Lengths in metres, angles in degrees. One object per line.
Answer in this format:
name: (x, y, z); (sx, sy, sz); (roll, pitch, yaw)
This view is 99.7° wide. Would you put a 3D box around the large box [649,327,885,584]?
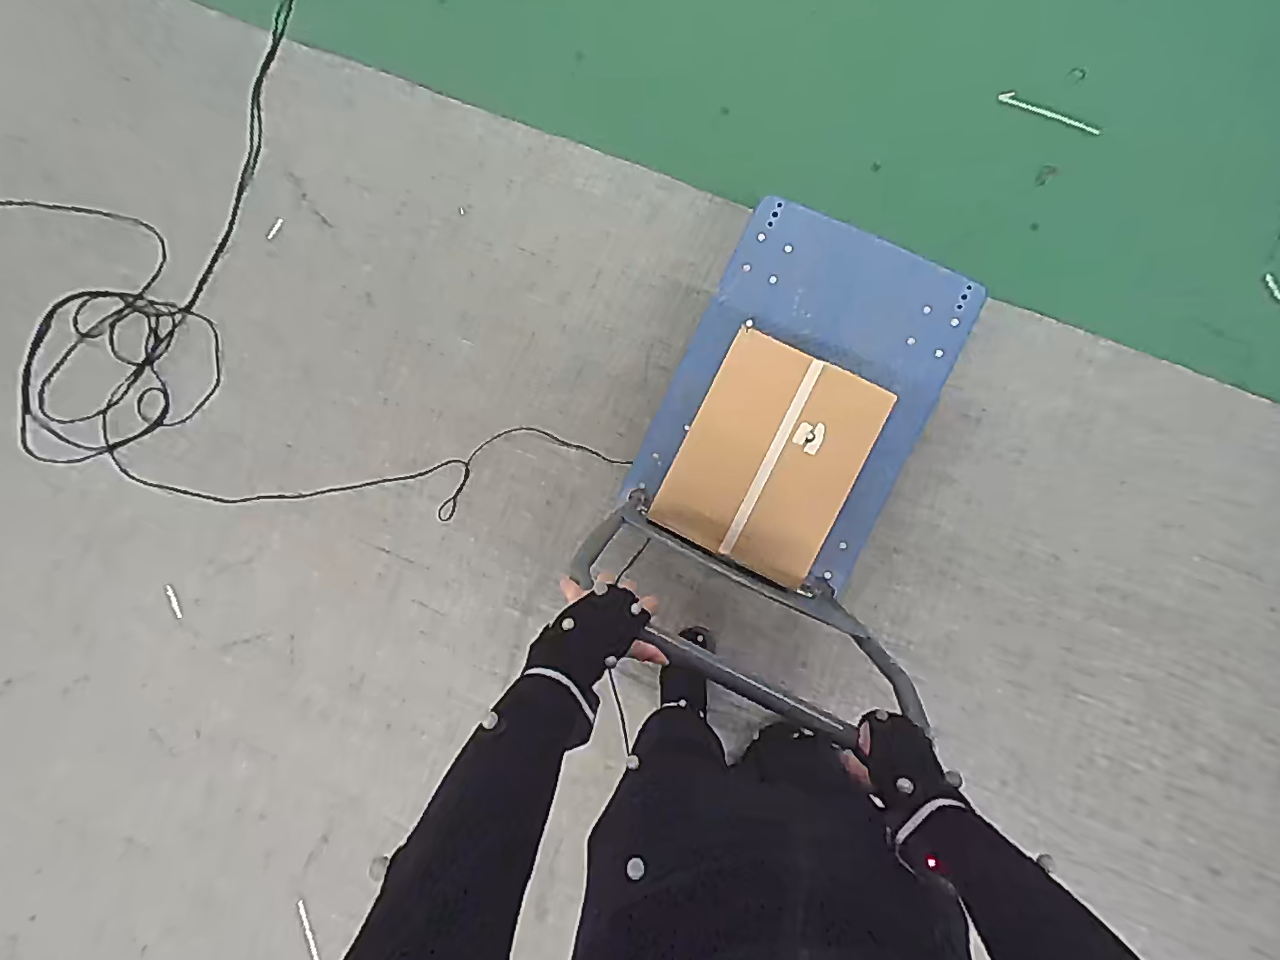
large box: (0.245, -0.042, 1.156); (0.320, 0.320, 0.408); (26, 91, 4)
